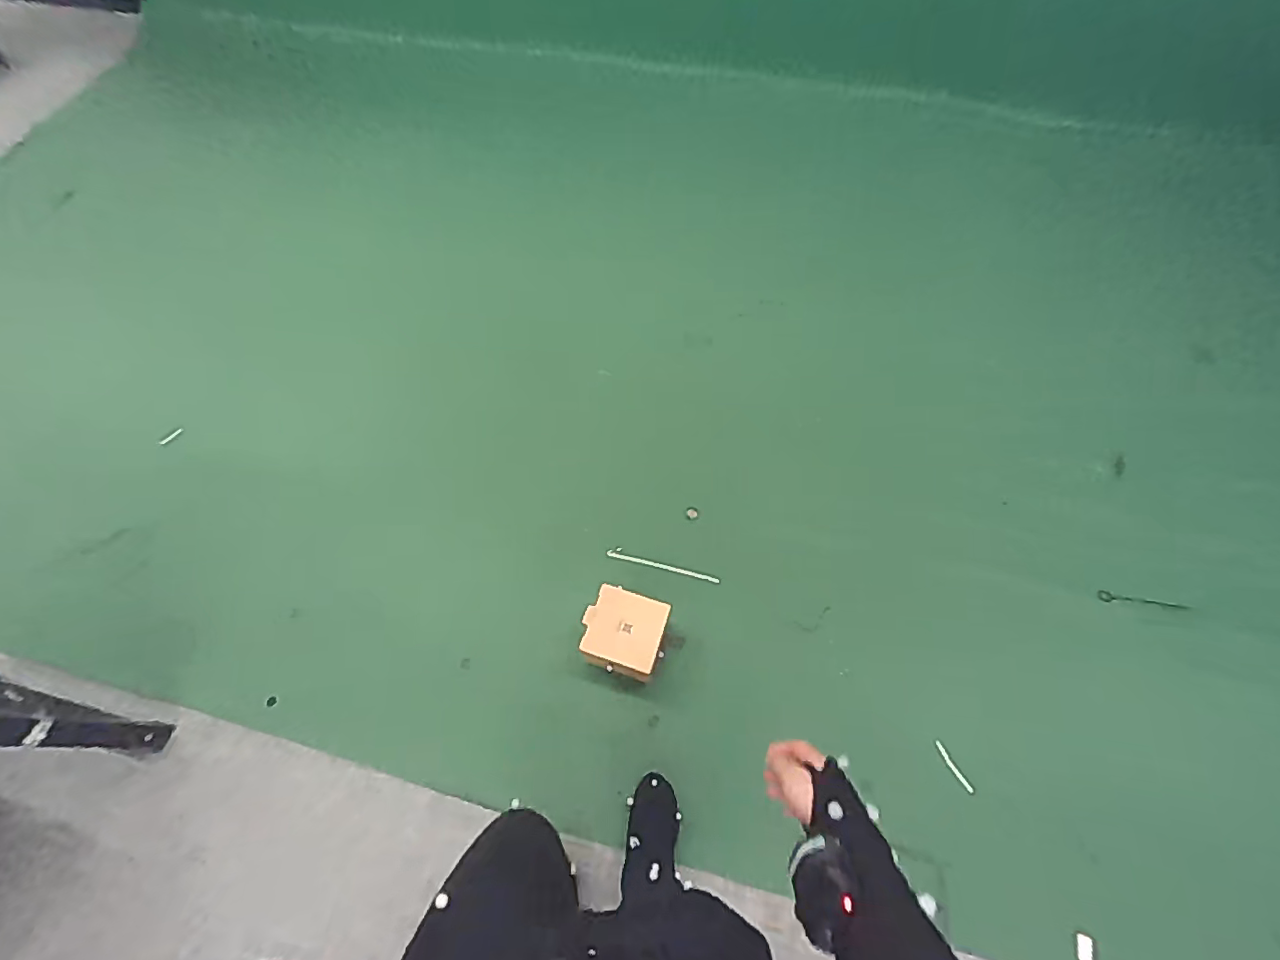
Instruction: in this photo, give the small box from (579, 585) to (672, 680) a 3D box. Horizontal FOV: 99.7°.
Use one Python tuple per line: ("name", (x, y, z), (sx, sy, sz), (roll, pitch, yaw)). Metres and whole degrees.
("small box", (-0.029, 0.378, 1.318), (0.179, 0.176, 0.168), (16, 65, 10))
